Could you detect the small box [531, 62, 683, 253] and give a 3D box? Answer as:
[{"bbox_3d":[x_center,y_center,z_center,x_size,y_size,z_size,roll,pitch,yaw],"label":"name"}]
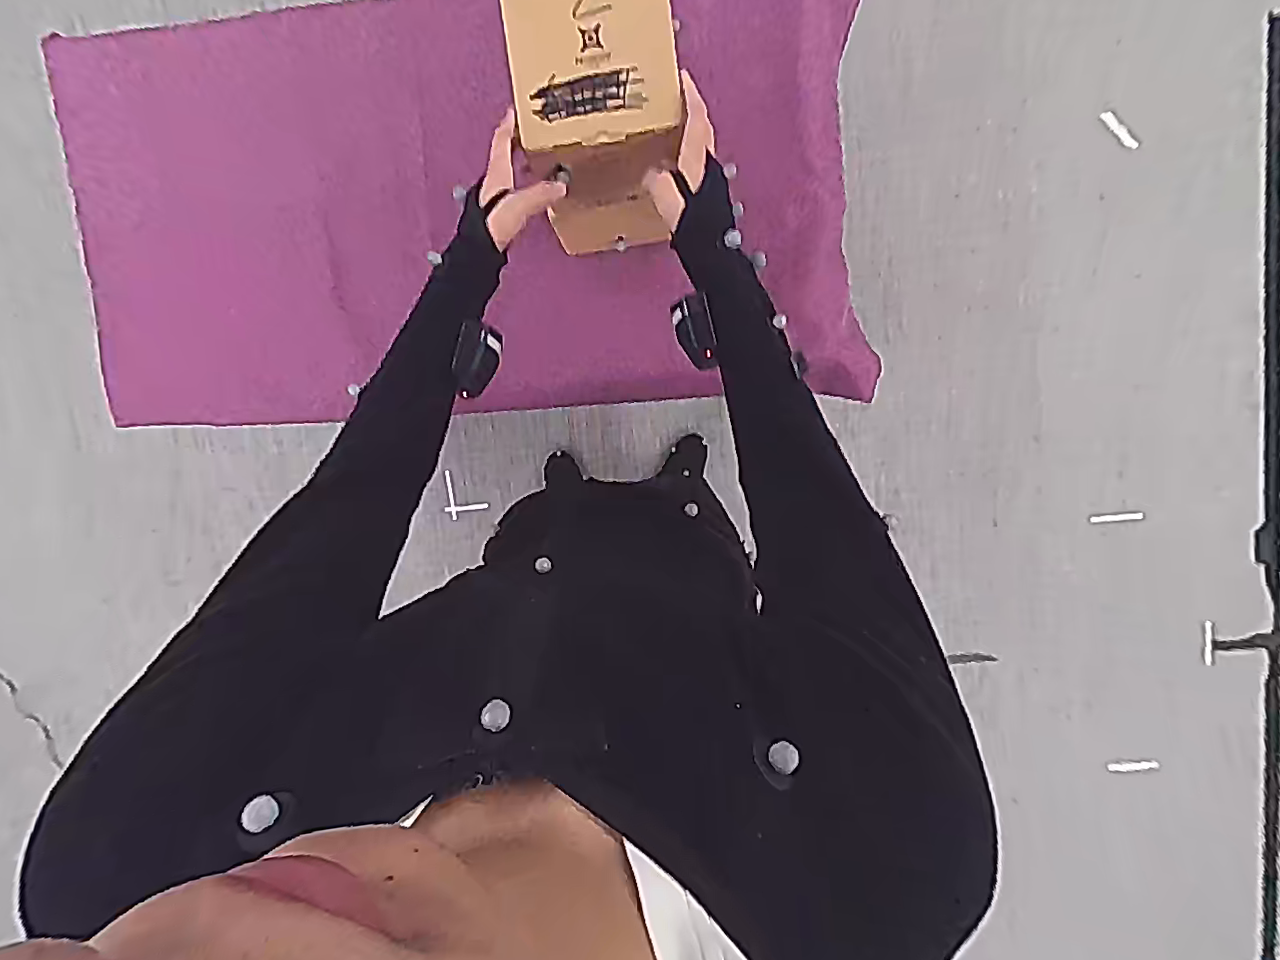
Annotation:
[{"bbox_3d":[-0.041,-0.439,0.764,0.179,0.176,0.168,-8,95,2],"label":"small box"}]
